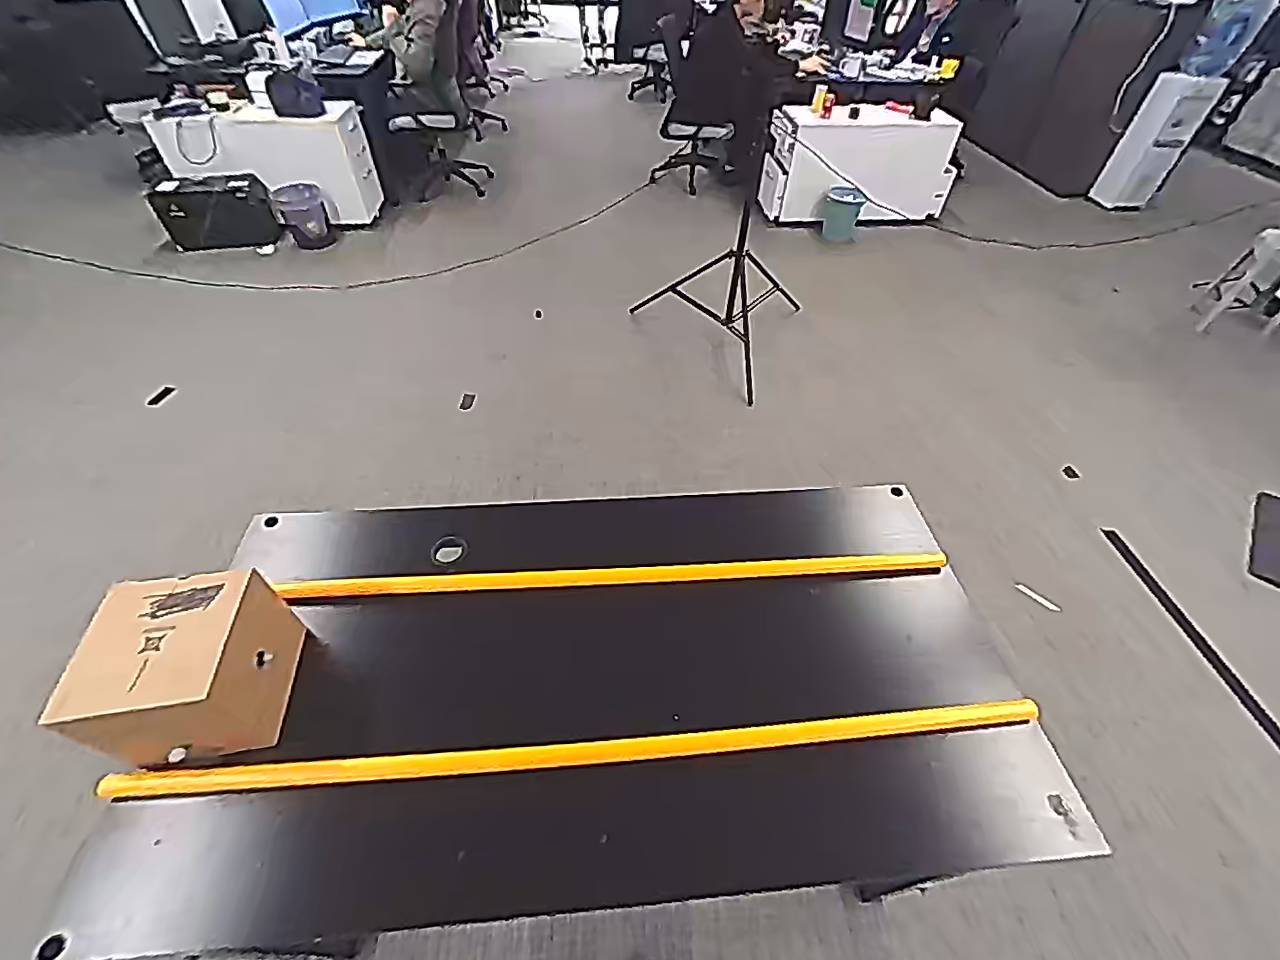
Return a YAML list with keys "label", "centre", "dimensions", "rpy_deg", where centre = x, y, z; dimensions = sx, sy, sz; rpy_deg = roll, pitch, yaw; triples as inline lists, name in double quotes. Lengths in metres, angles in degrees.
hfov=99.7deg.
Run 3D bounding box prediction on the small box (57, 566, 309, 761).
- label: "small box"
  centre: [-0.561, 0.238, 0.702]
  dimensions: [0.168, 0.176, 0.179]
  rpy_deg: [-6, 49, -8]
